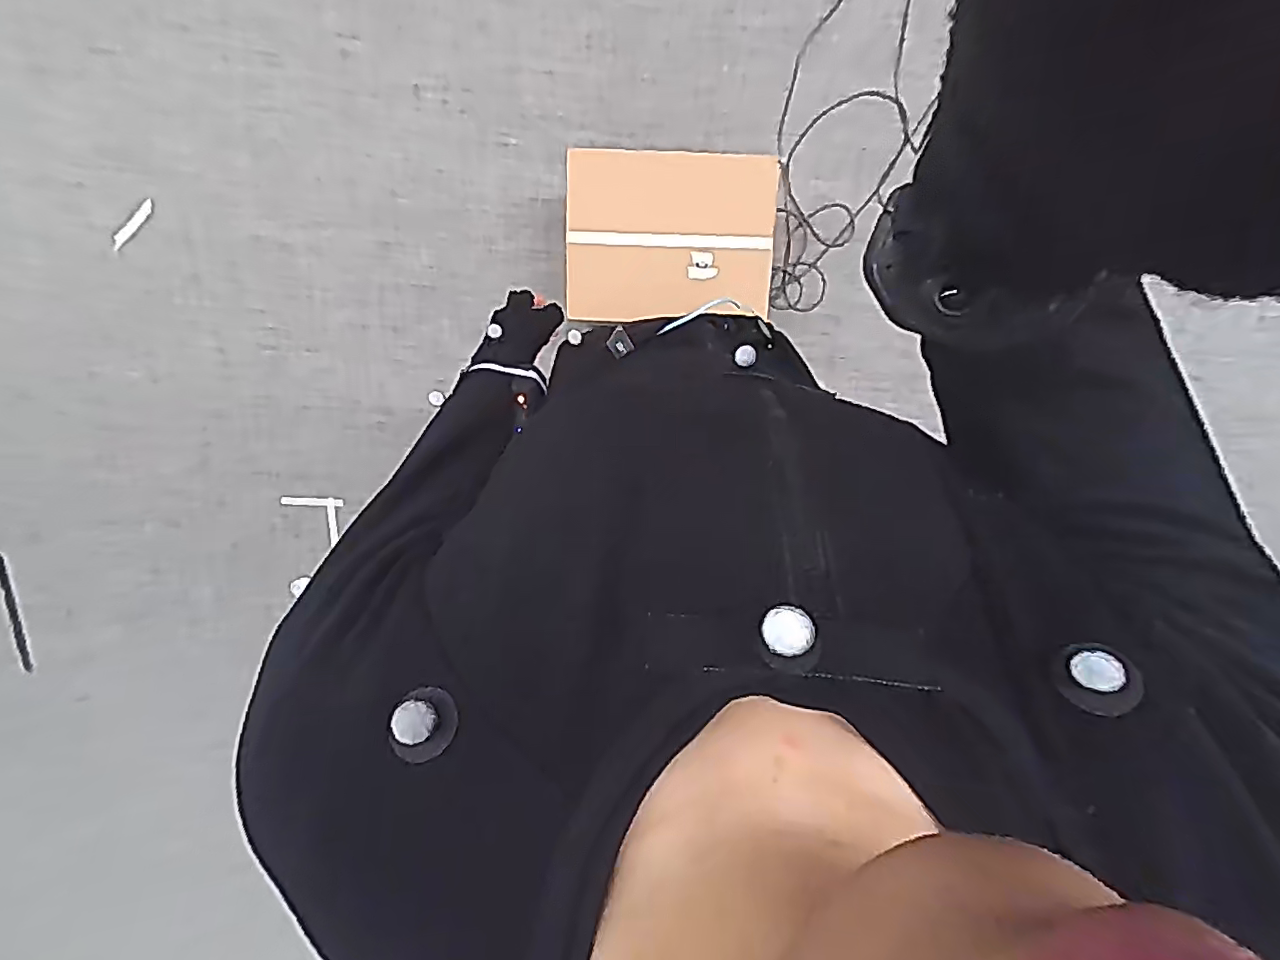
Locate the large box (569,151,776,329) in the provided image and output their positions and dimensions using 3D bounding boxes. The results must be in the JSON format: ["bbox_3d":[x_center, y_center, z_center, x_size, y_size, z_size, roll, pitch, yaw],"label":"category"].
[{"bbox_3d":[0.057,-0.507,1.209,0.408,0.320,0.320,2,104,0],"label":"large box"}]
